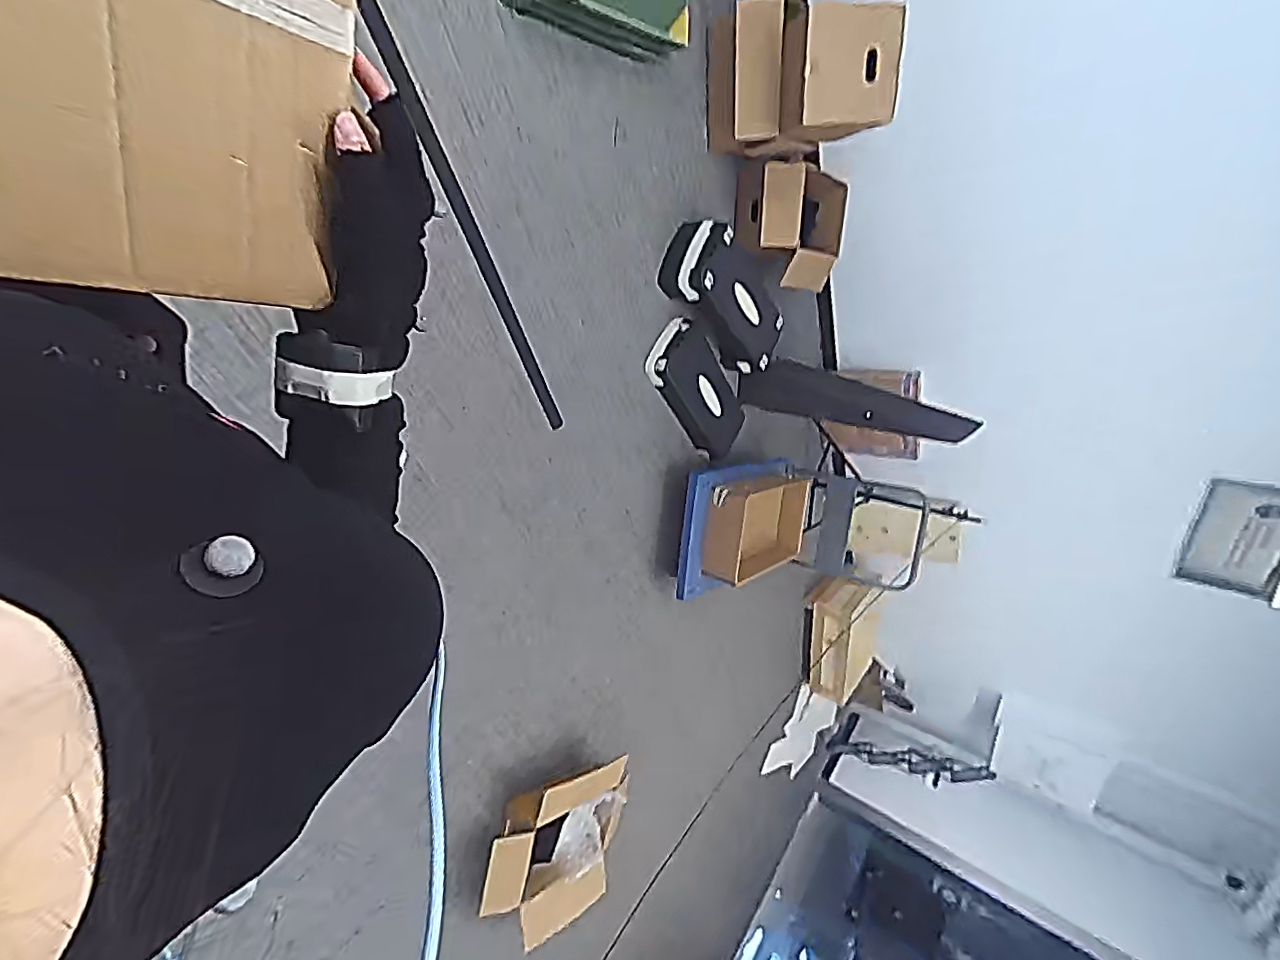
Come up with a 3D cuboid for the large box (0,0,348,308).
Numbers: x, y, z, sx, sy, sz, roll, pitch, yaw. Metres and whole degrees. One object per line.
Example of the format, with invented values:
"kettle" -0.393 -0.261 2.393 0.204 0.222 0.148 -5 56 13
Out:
"large box" -0.405 -0.300 0.253 0.408 0.320 0.320 -9 129 -45
